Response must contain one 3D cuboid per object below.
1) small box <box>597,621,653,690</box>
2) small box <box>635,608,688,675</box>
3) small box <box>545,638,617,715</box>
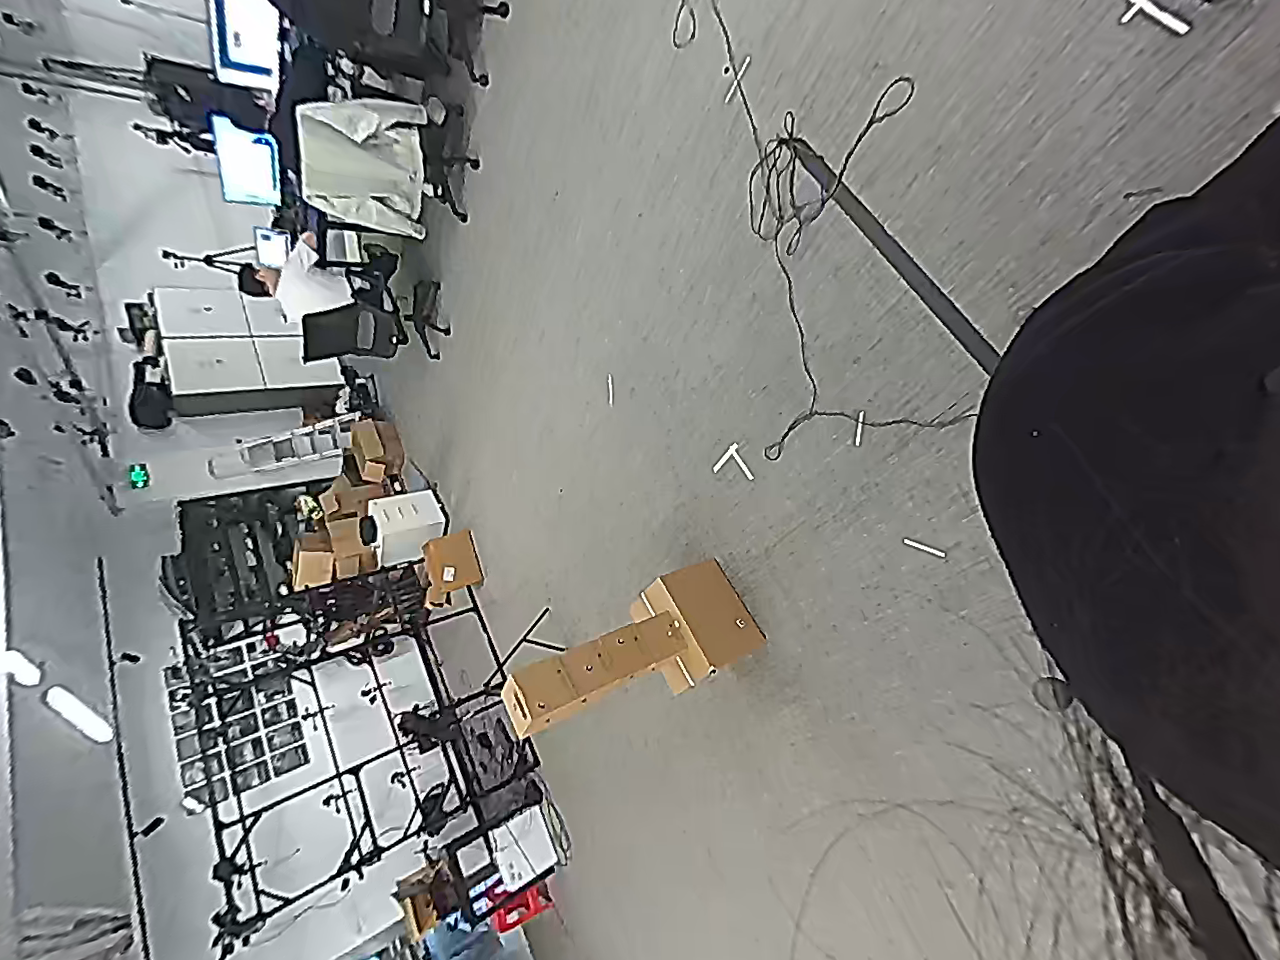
[{"bbox_3d":[-0.073,0.642,1.978,0.168,0.176,0.179,59,140,24],"label":"small box"},{"bbox_3d":[0.053,0.620,2.077,0.168,0.176,0.179,59,139,22],"label":"small box"},{"bbox_3d":[-0.202,0.677,1.881,0.168,0.176,0.179,56,138,28],"label":"small box"}]
